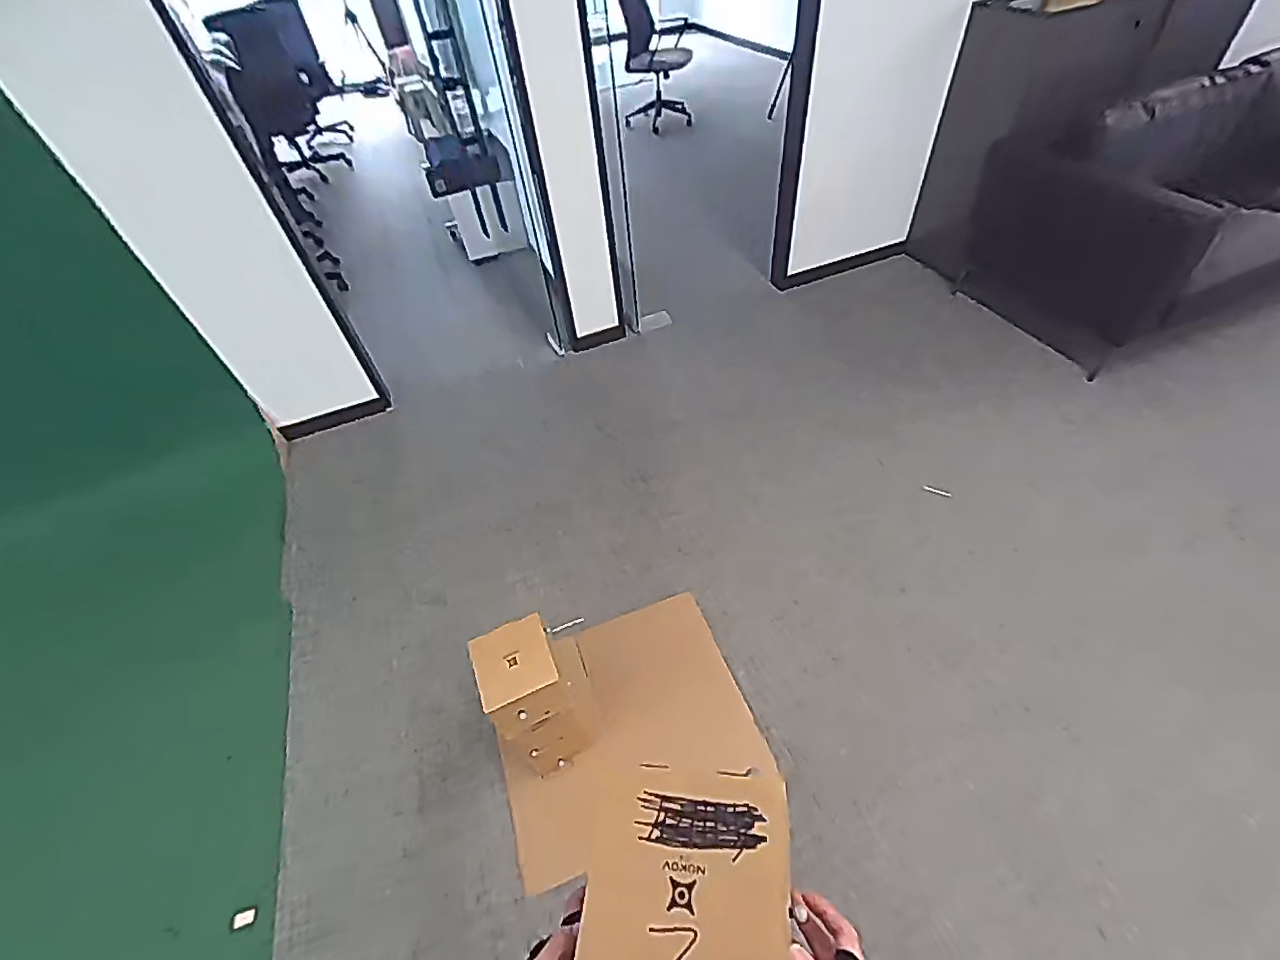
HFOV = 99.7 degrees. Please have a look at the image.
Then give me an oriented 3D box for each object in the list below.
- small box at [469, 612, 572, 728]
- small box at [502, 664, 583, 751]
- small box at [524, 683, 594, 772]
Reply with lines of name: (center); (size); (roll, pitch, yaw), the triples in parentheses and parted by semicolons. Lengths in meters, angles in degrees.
small box: (-0.265, 0.437, 1.222); (0.168, 0.176, 0.179); (-22, 49, -12)
small box: (-0.255, 0.546, 1.342); (0.168, 0.176, 0.179); (-22, 49, -12)
small box: (-0.240, 0.653, 1.464); (0.168, 0.176, 0.179); (-25, 51, -14)
